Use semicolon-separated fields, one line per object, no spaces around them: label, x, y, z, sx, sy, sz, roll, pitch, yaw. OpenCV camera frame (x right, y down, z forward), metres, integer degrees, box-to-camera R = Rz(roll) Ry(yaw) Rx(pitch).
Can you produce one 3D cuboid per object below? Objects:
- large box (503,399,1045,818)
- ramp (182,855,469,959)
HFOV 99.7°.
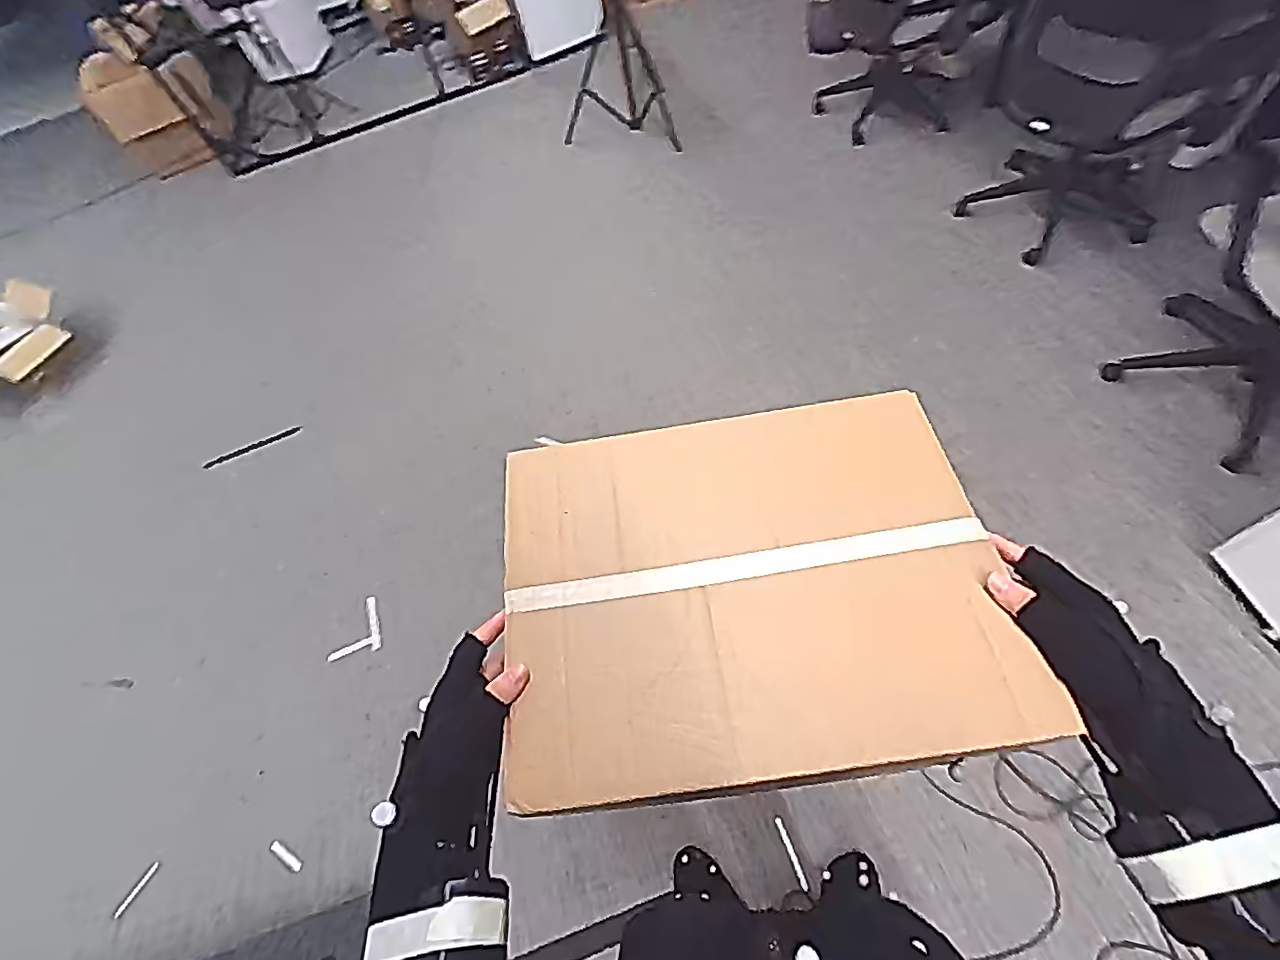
large box;0.094;0.155;0.593;0.408;0.320;0.320;-9;58;1
ramp;-0.827;1.194;1.045;0.991;0.206;0.509;-22;56;-4
